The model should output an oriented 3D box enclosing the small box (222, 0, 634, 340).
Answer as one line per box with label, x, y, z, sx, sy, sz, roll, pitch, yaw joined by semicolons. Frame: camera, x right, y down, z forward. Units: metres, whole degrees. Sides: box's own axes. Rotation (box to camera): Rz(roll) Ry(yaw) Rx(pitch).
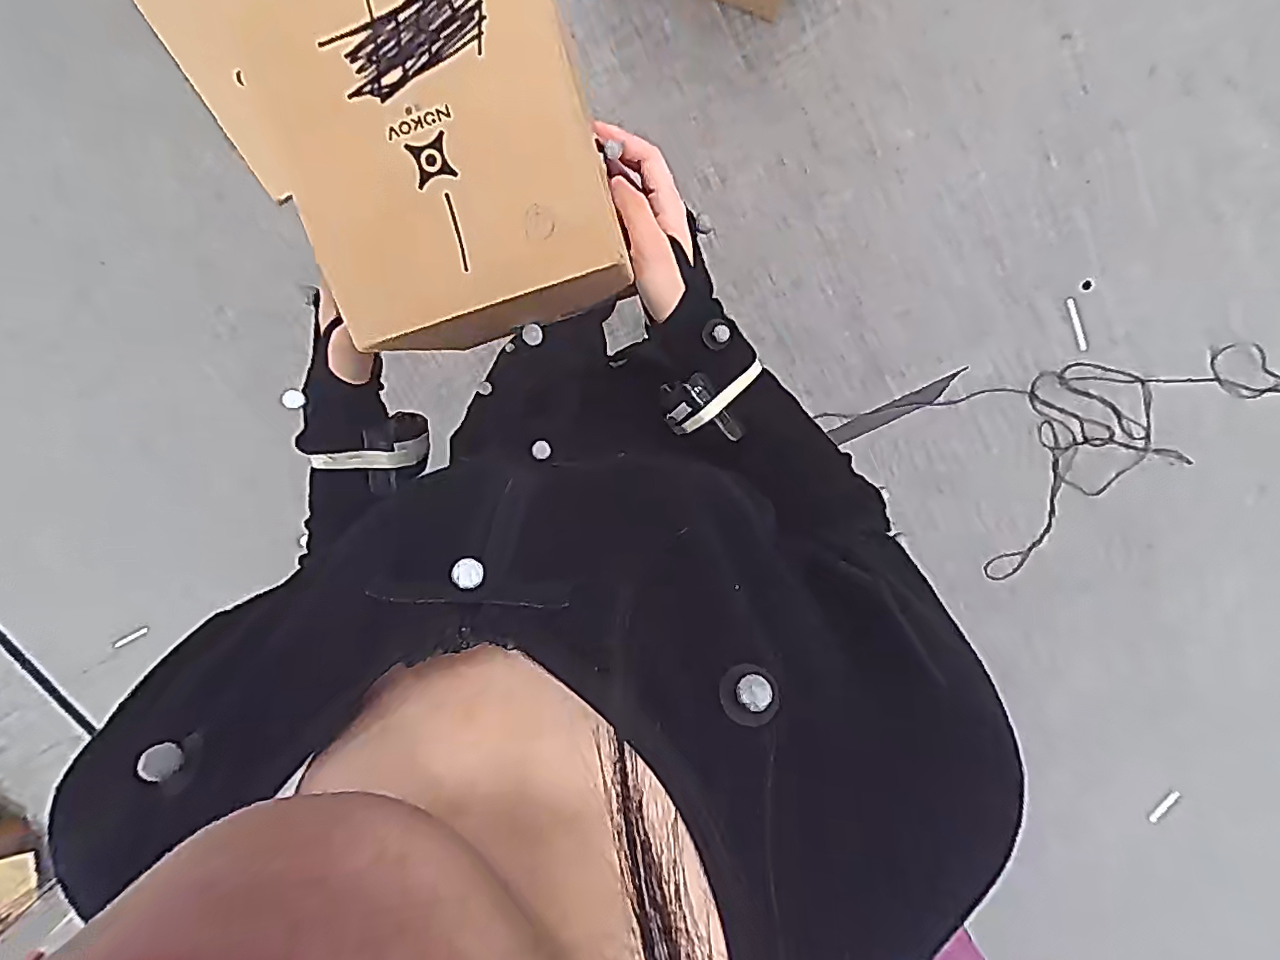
small box;-0.107;-0.200;0.360;0.168;0.176;0.179;-15;103;7
